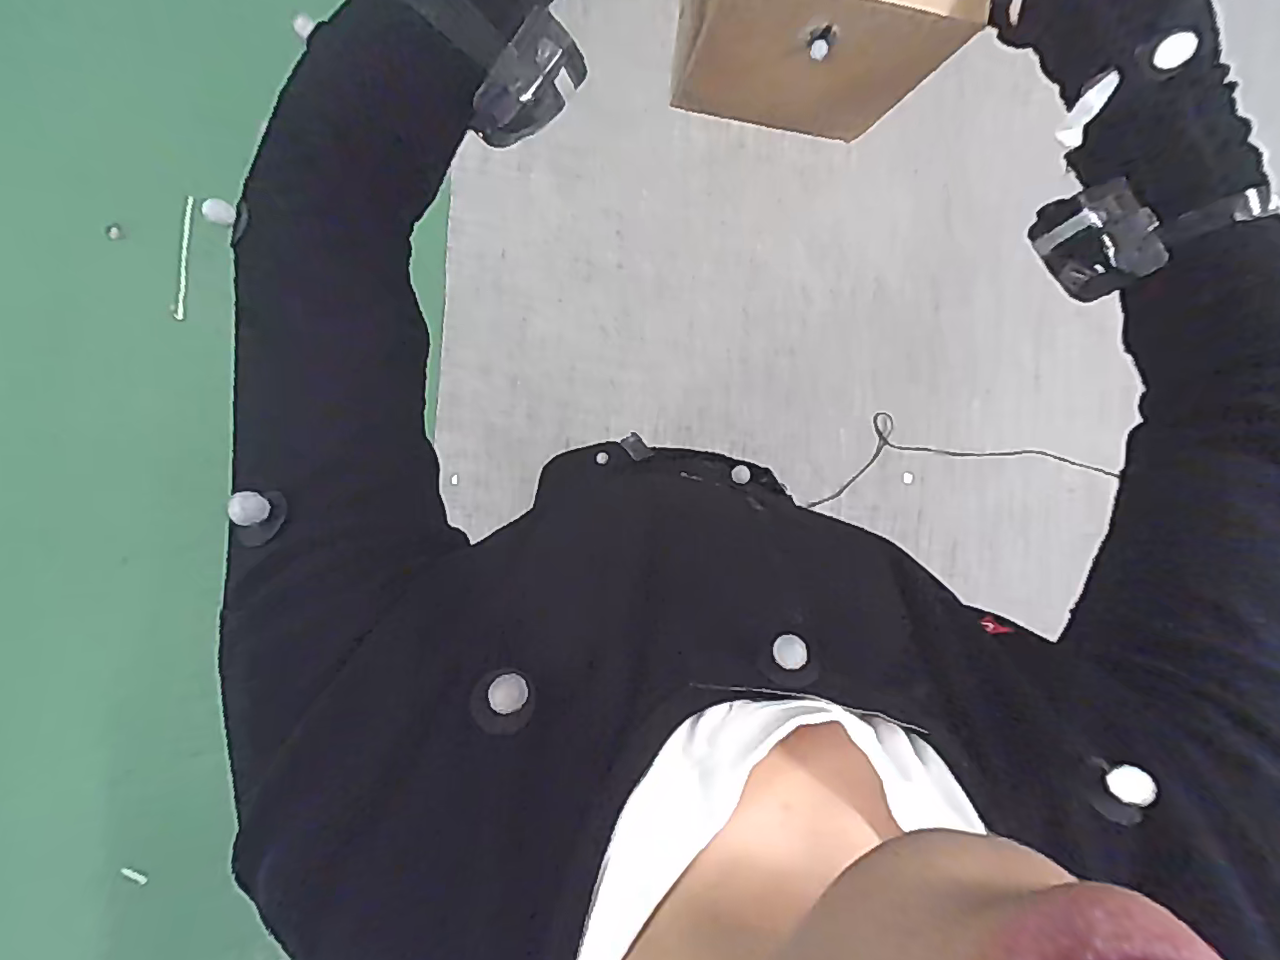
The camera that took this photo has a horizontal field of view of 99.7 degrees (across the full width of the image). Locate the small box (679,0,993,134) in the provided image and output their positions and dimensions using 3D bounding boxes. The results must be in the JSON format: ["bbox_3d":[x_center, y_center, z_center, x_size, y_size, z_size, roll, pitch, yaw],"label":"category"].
[{"bbox_3d":[0.134,-0.389,0.398,0.179,0.176,0.168,4,99,-10],"label":"small box"}]
